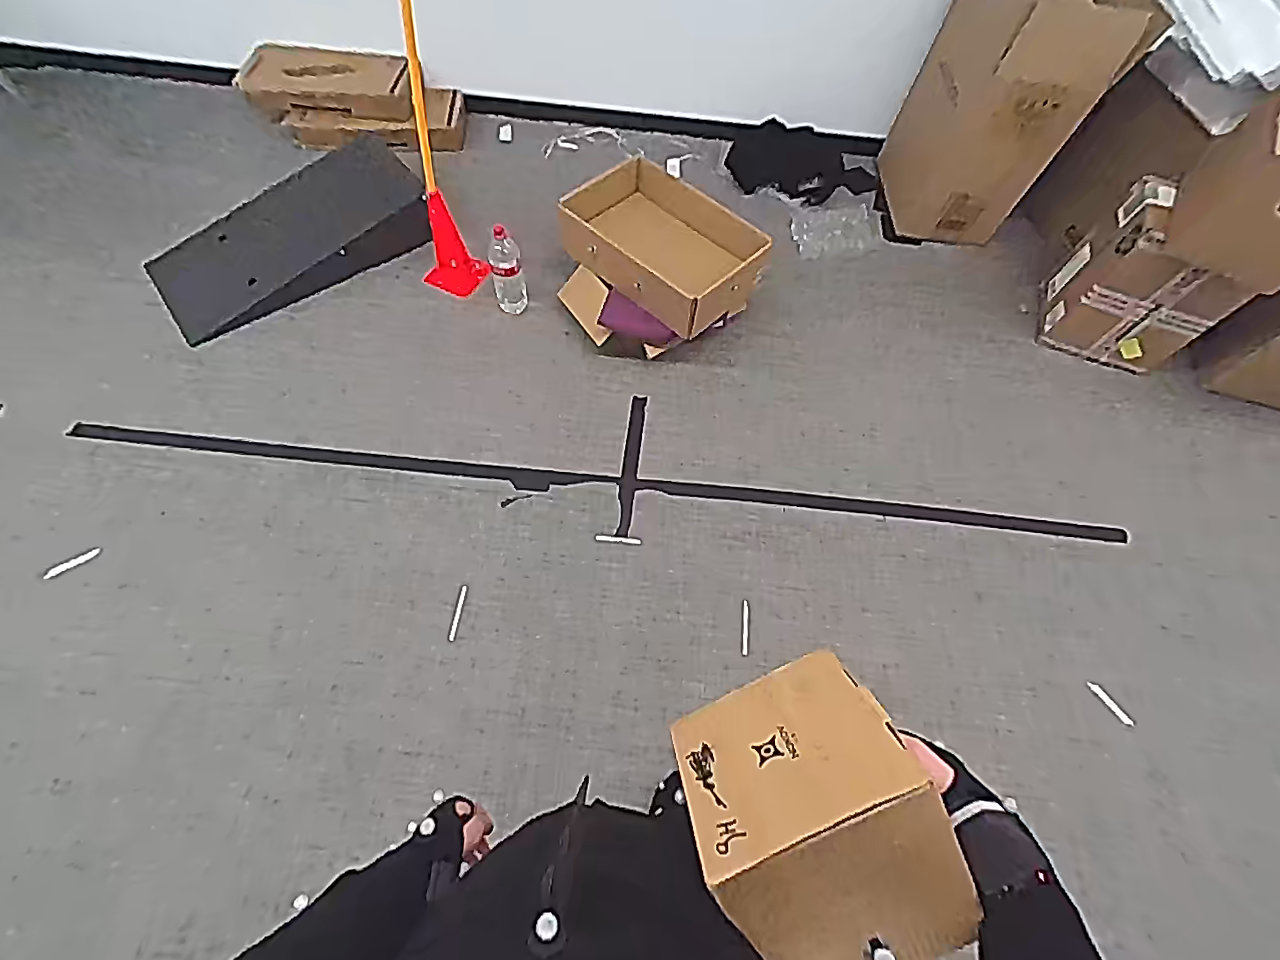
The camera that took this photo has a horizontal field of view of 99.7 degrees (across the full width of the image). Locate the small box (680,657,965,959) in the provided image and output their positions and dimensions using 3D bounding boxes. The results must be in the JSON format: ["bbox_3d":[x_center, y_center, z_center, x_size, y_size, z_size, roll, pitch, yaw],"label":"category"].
[{"bbox_3d":[0.158,0.303,0.488,0.179,0.168,0.176,-26,106,1],"label":"small box"}]
